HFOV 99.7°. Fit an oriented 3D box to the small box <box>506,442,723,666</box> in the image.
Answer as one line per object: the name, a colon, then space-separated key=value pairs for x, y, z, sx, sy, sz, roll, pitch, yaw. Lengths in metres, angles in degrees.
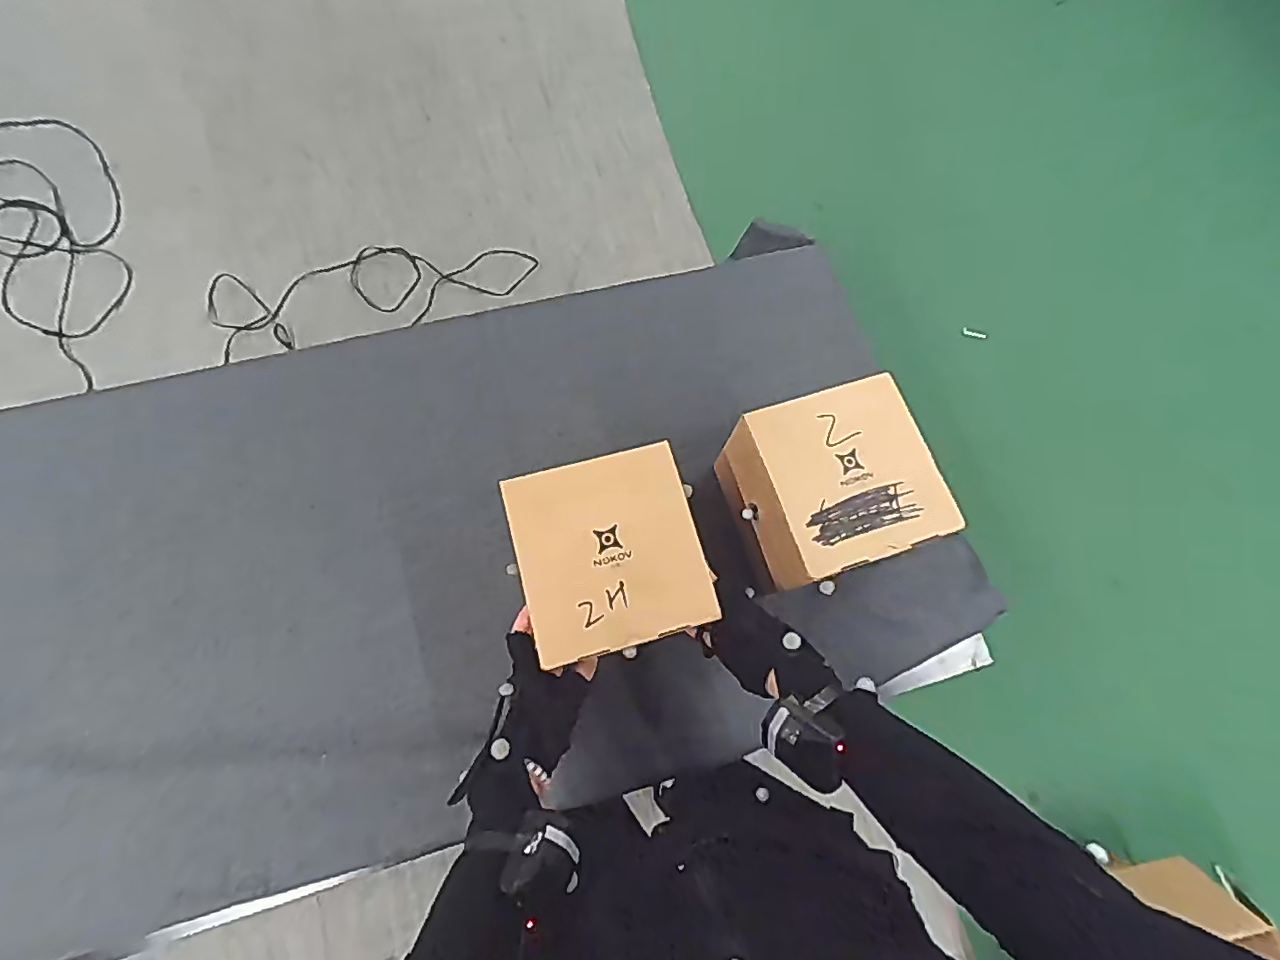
small box: x=-0.031 y=0.084 z=0.564 sx=0.168 sy=0.176 sz=0.179 roll=-14 pitch=75 yaw=-7
